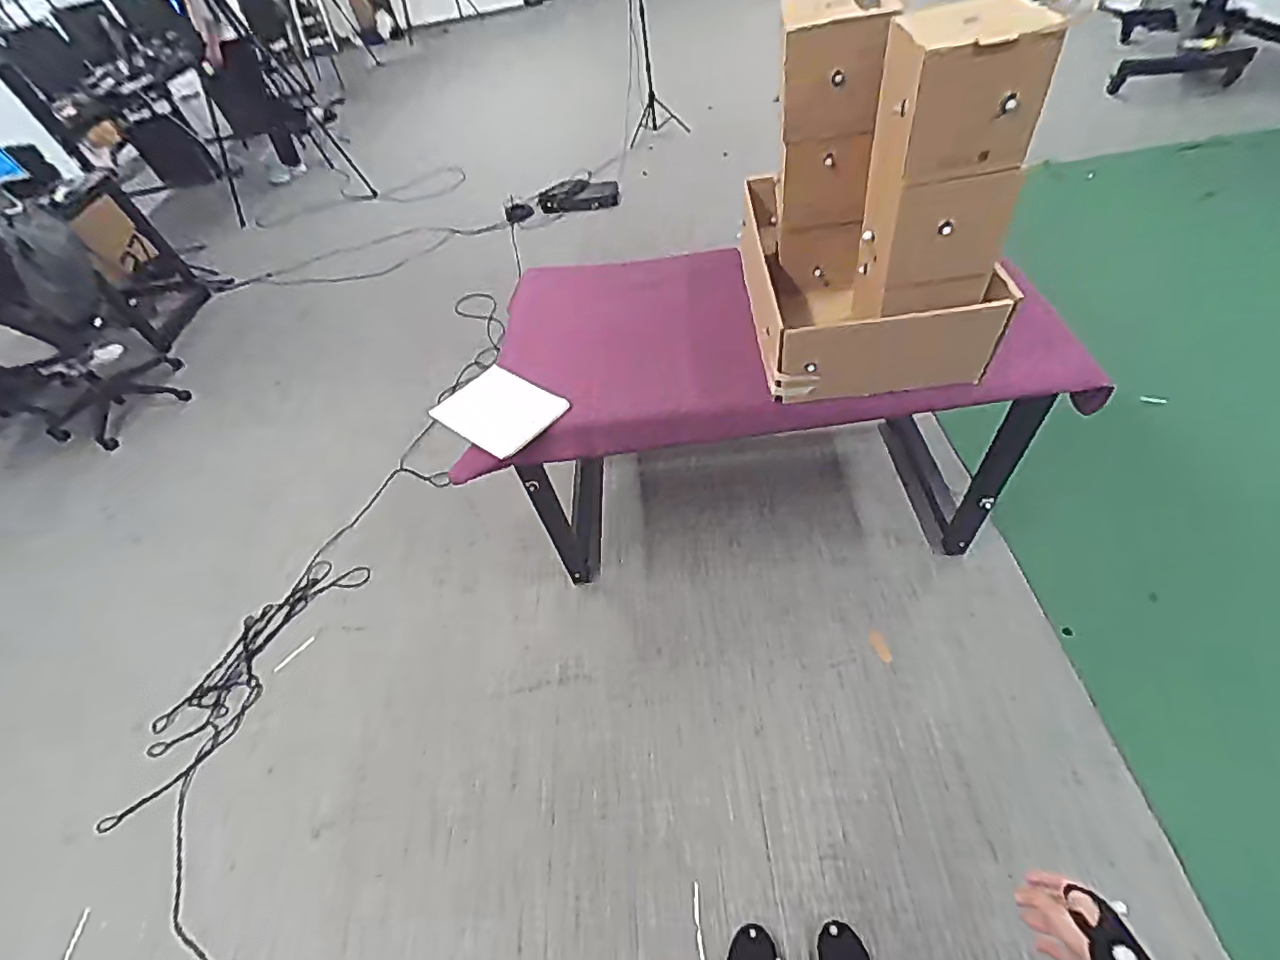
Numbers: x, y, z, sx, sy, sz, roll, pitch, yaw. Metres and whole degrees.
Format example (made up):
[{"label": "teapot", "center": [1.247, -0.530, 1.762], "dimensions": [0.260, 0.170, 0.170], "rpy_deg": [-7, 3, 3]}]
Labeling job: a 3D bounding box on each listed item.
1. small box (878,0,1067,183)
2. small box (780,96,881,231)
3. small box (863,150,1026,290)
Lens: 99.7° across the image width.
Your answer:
[{"label": "small box", "center": [0.455, -0.548, 0.775], "dimensions": [0.168, 0.176, 0.179], "rpy_deg": [-5, 50, 10]}, {"label": "small box", "center": [0.373, -0.619, 1.068], "dimensions": [0.179, 0.176, 0.168], "rpy_deg": [-1, 54, 12]}, {"label": "small box", "center": [0.486, -0.441, 0.895], "dimensions": [0.179, 0.176, 0.168], "rpy_deg": [-6, 50, 10]}]
